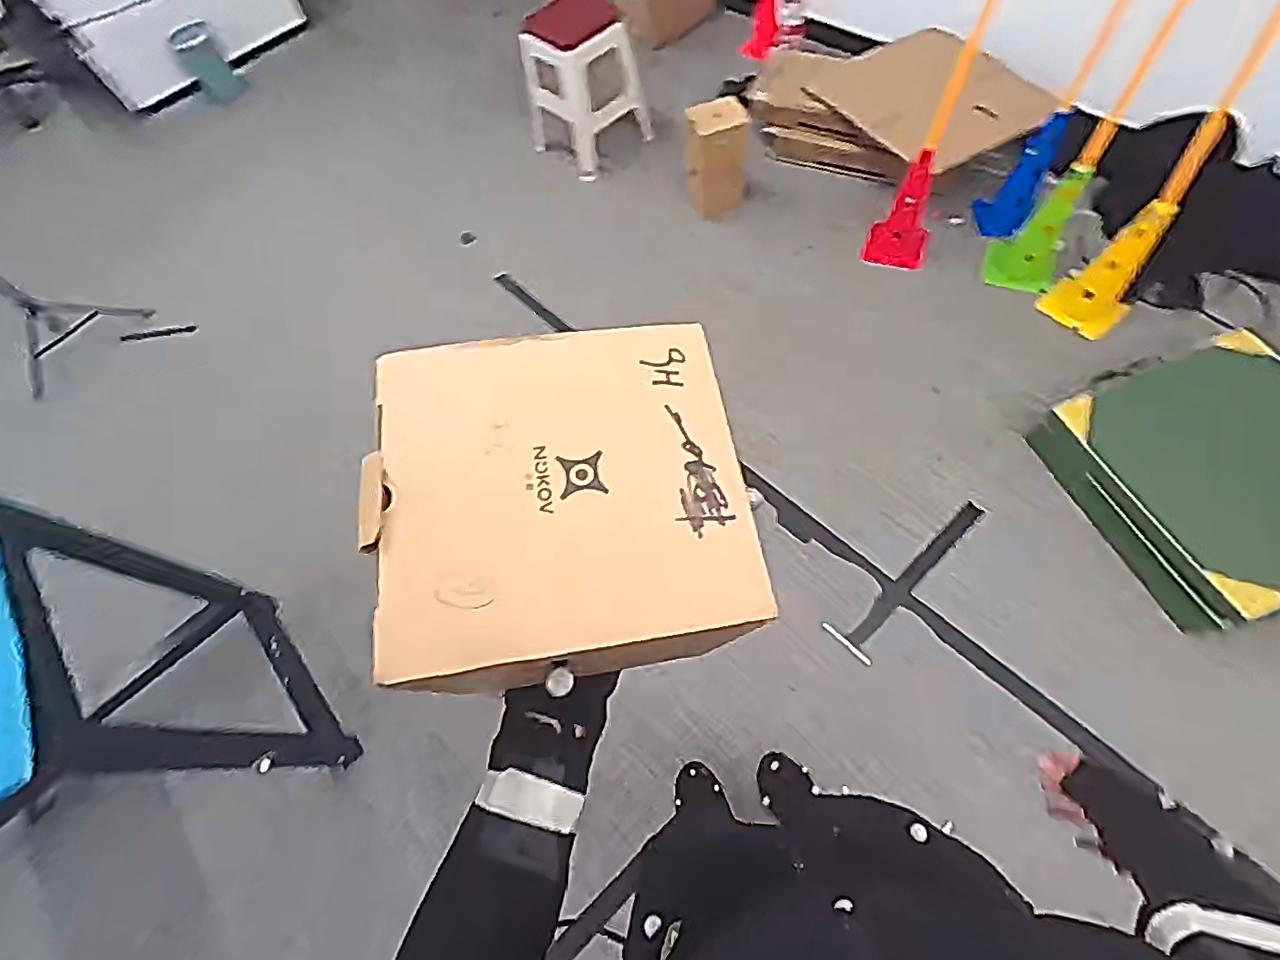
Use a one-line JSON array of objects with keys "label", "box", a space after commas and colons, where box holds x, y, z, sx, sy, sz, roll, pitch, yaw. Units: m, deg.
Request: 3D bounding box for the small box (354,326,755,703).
[{"label": "small box", "box": [-0.052, 0.034, 0.337, 0.179, 0.176, 0.168, -11, 68, -9]}]
